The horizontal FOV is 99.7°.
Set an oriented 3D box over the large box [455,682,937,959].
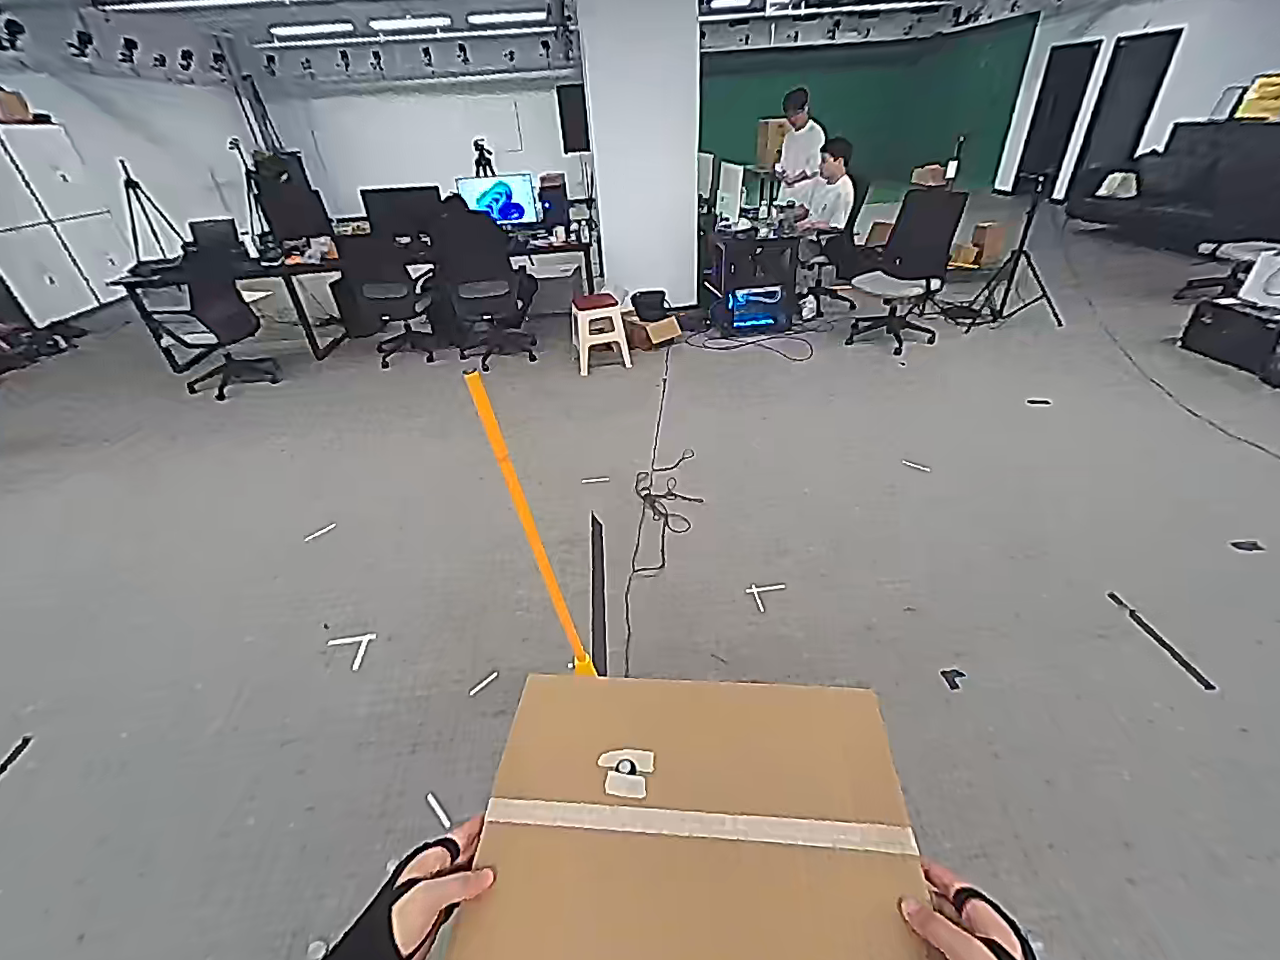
[{"bbox_3d":[0.064,0.454,0.614,0.408,0.320,0.320,-1,36,8],"label":"large box"}]
